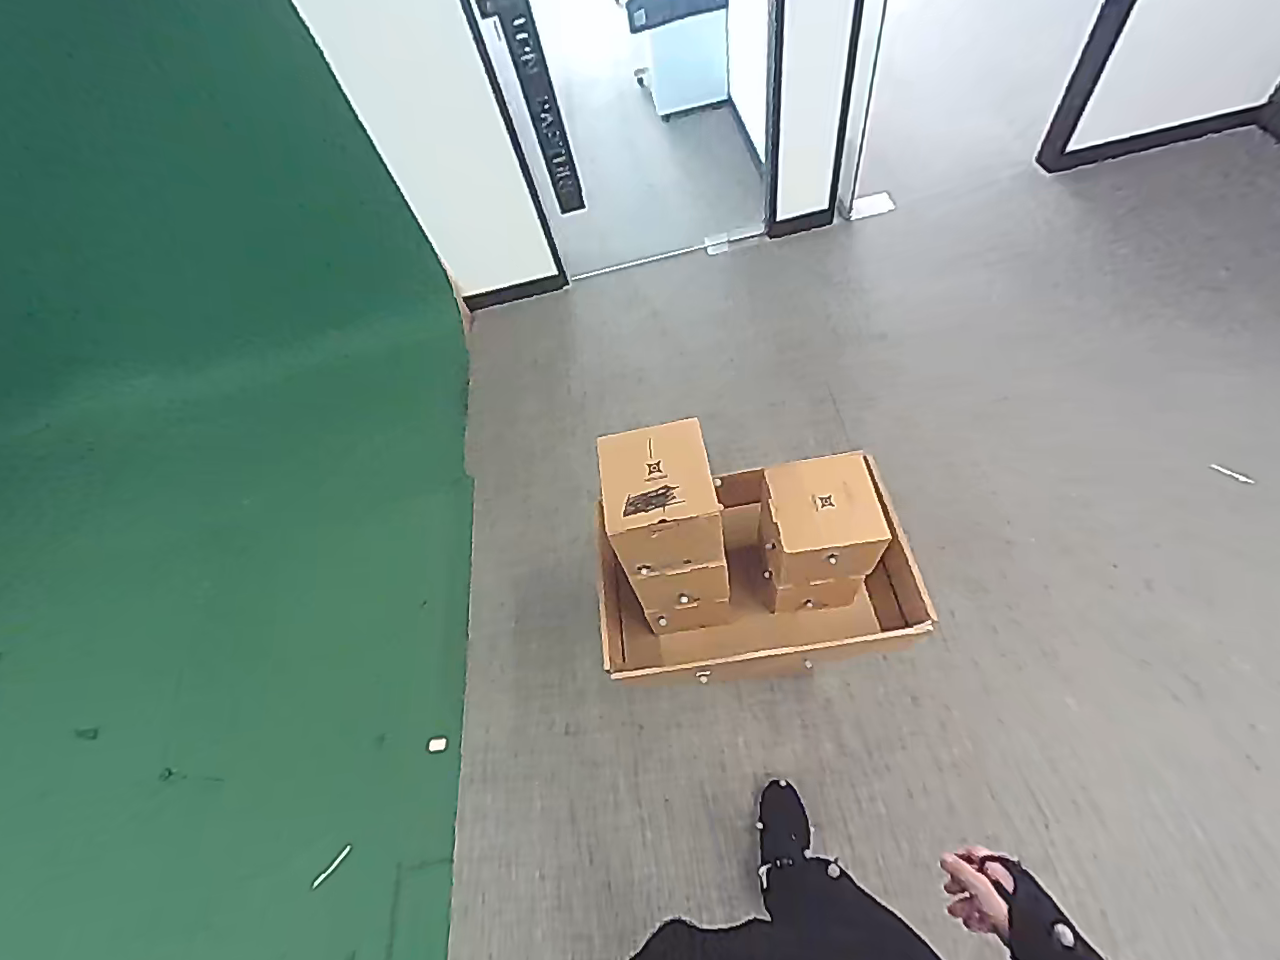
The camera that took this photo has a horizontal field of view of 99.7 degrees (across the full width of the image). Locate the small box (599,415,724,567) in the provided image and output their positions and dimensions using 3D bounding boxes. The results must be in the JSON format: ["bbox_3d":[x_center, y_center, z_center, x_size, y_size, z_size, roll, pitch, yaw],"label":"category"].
[{"bbox_3d":[0.037,0.026,0.863,0.168,0.176,0.179,-11,57,4],"label":"small box"}]

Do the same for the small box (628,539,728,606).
[{"bbox_3d":[0.067,0.115,0.998,0.168,0.176,0.179,-10,58,5],"label":"small box"}]

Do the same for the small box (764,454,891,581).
[{"bbox_3d":[0.324,0.075,0.978,0.179,0.176,0.168,-8,60,5],"label":"small box"}]
